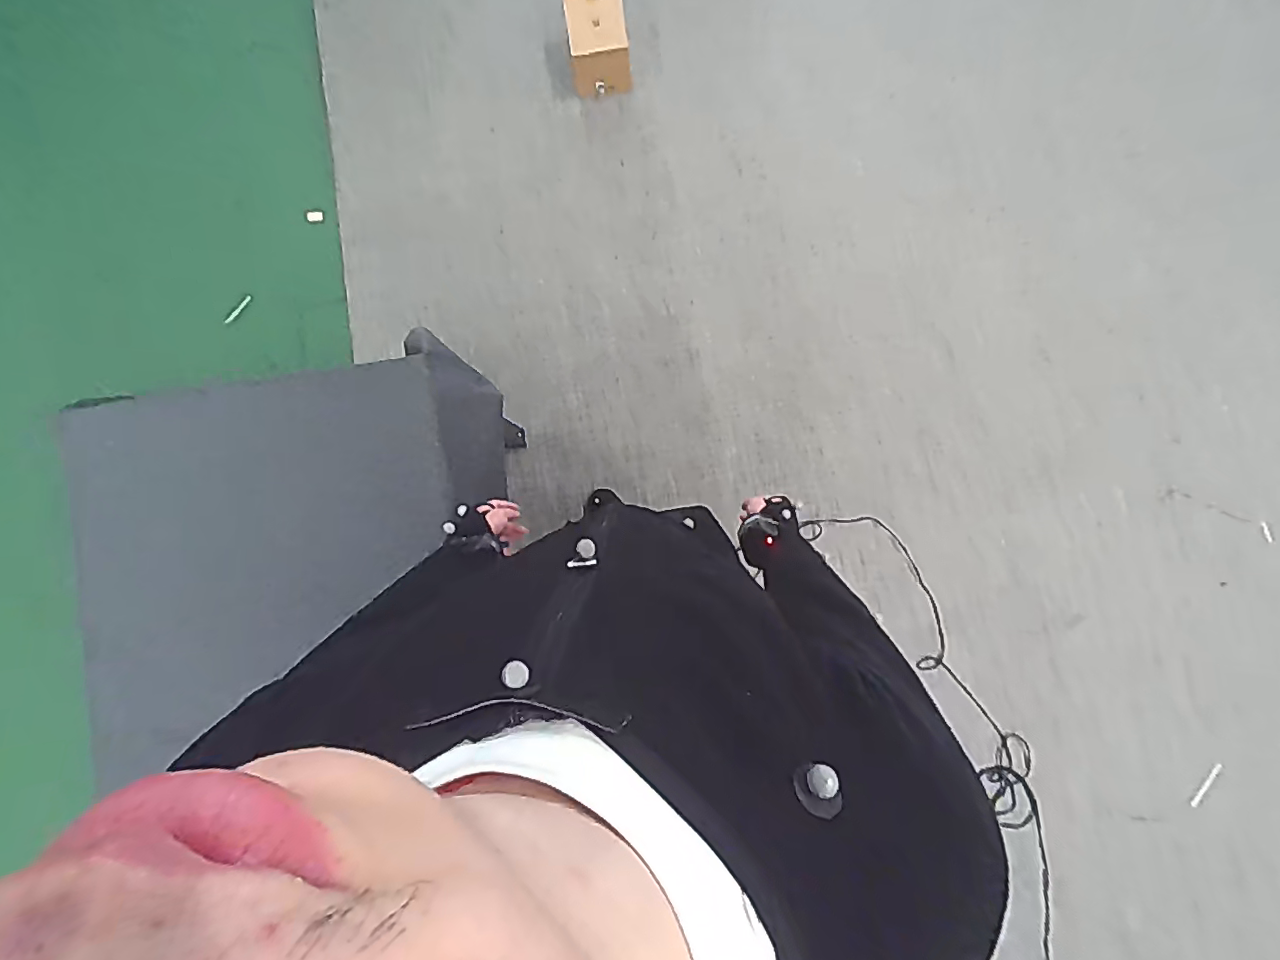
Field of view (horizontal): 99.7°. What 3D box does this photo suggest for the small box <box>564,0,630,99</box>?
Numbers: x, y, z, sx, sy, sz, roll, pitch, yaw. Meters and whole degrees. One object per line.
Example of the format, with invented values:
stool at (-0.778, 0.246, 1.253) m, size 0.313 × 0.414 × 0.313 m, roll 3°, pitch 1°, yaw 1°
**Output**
small box at (-0.121, -1.258, 1.572) m, size 0.168 × 0.176 × 0.179 m, roll -6°, pitch 86°, yaw 3°
